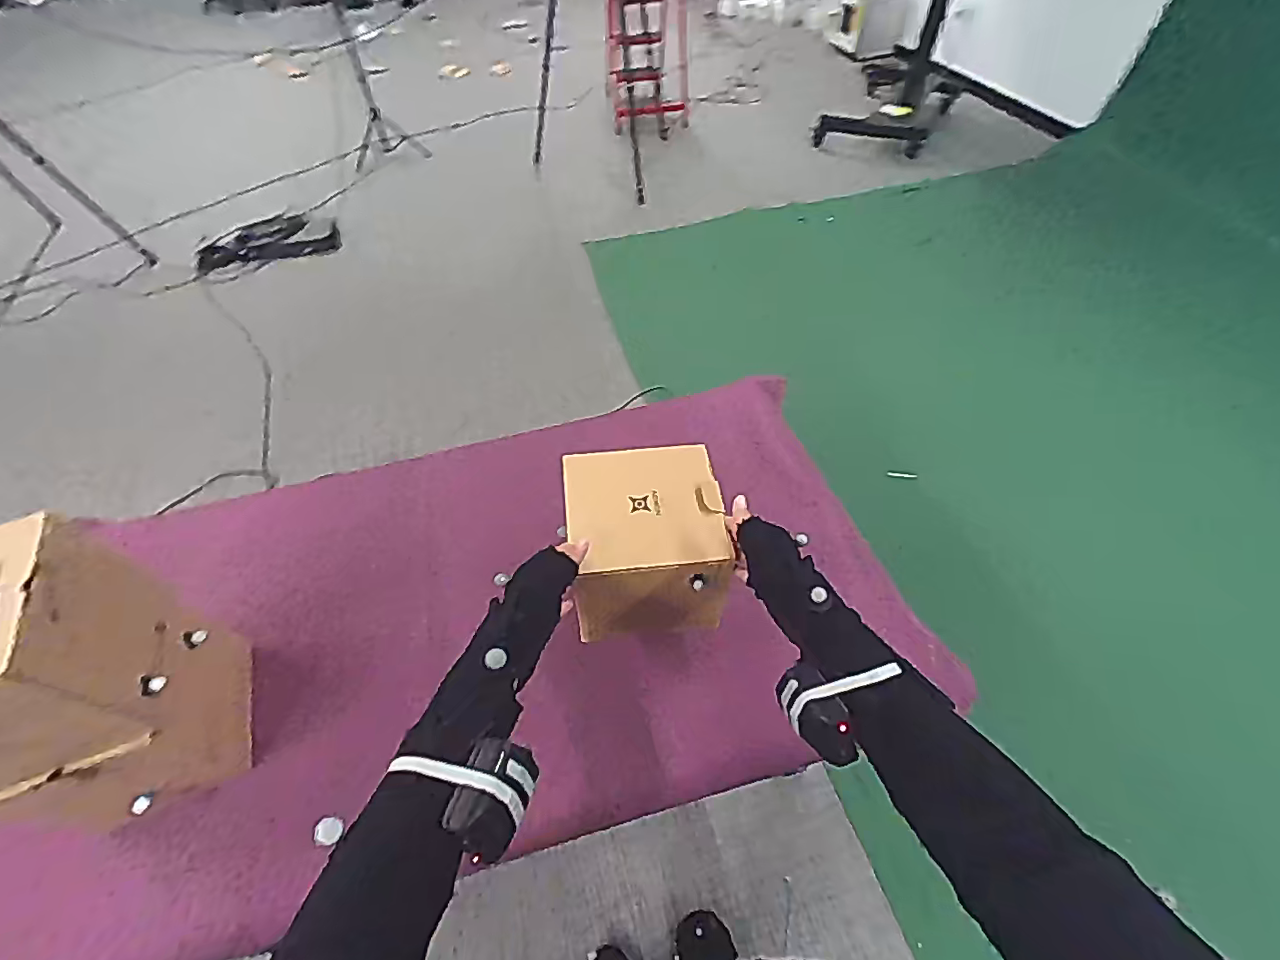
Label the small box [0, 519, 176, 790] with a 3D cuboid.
[{"bbox_3d":[-0.584,0.169,0.499,0.179,0.176,0.168,-18,52,-12],"label":"small box"}]

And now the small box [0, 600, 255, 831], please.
[{"bbox_3d":[-0.583,0.275,0.629,0.168,0.176,0.179,-21,55,-12],"label":"small box"}]

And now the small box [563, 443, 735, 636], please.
[{"bbox_3d":[0.004,0.076,0.658,0.179,0.176,0.168,-5,50,-5],"label":"small box"}]
